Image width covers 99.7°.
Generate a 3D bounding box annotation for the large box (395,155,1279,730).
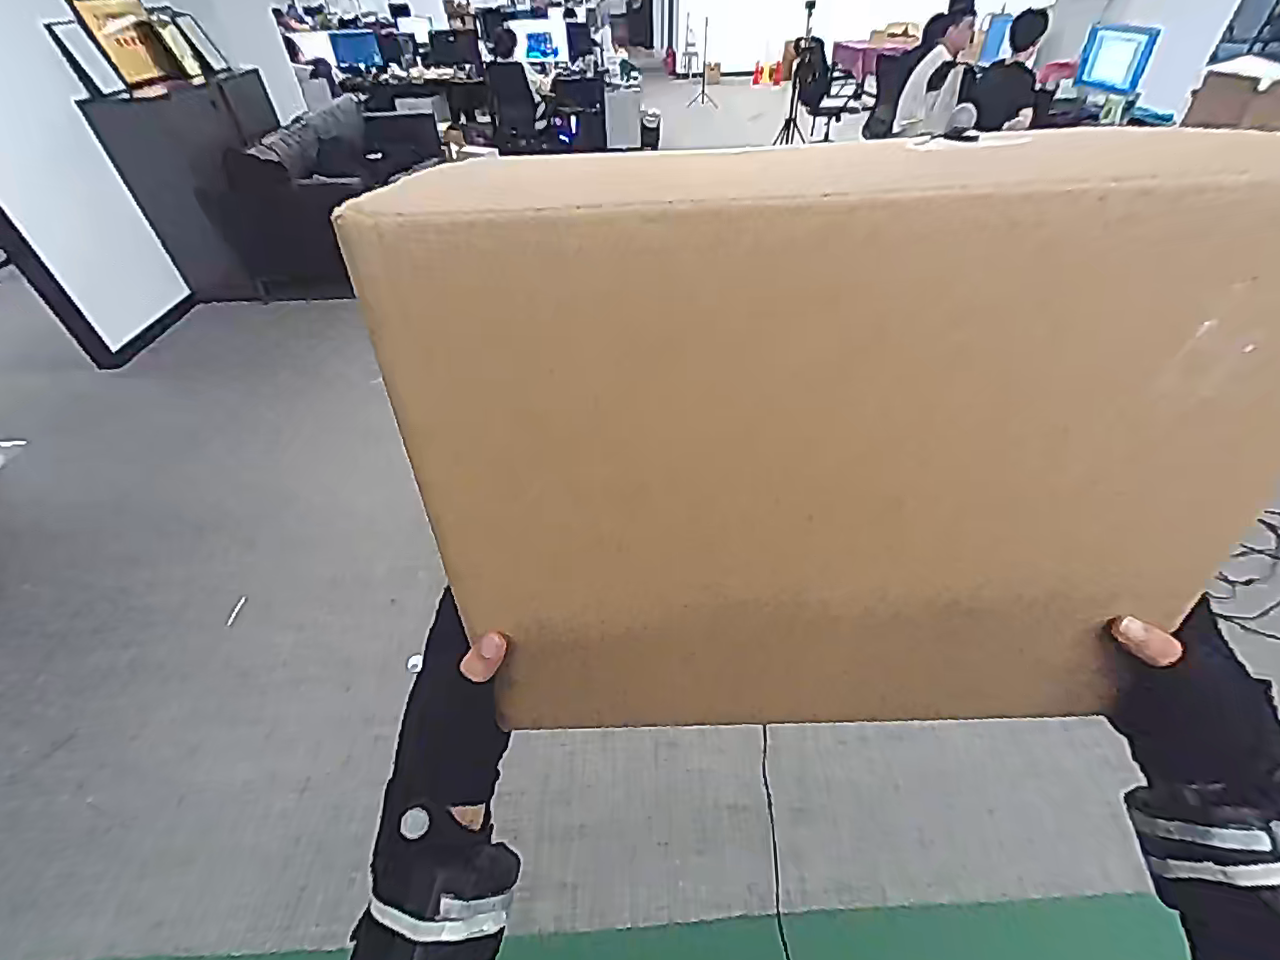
[{"bbox_3d":[0.105,-0.049,0.400,0.408,0.320,0.320,-2,34,0],"label":"large box"}]
